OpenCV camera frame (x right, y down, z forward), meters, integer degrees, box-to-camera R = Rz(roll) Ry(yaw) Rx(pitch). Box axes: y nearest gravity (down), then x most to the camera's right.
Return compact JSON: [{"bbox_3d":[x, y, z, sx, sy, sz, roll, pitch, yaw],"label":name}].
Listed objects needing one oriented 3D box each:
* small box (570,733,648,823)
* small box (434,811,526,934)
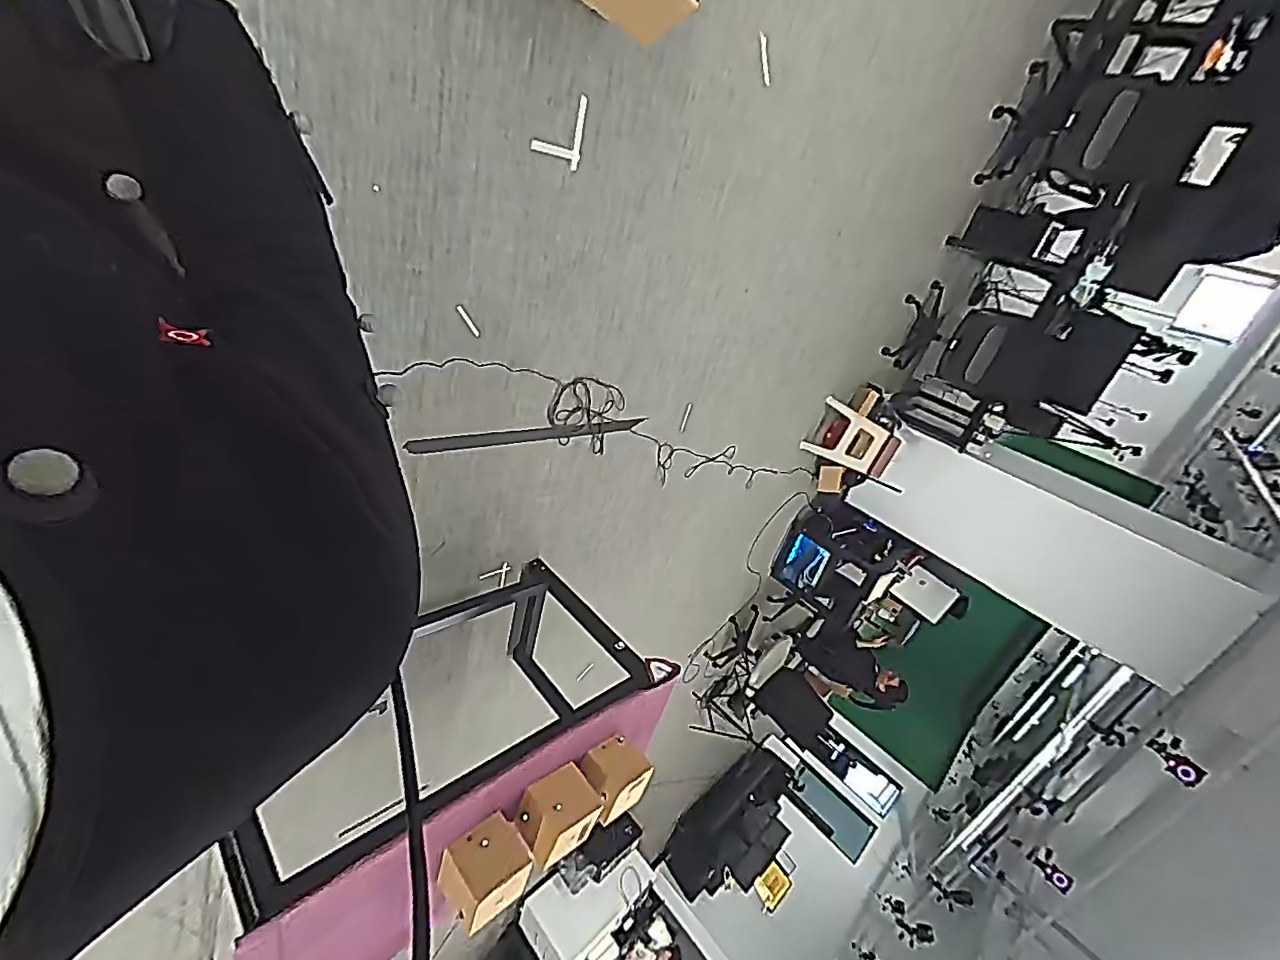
[{"bbox_3d":[-0.108,0.974,1.791,0.168,0.176,0.179,-6,124,-48],"label":"small box"},{"bbox_3d":[-0.433,1.041,1.447,0.168,0.176,0.179,-12,129,-46],"label":"small box"}]
